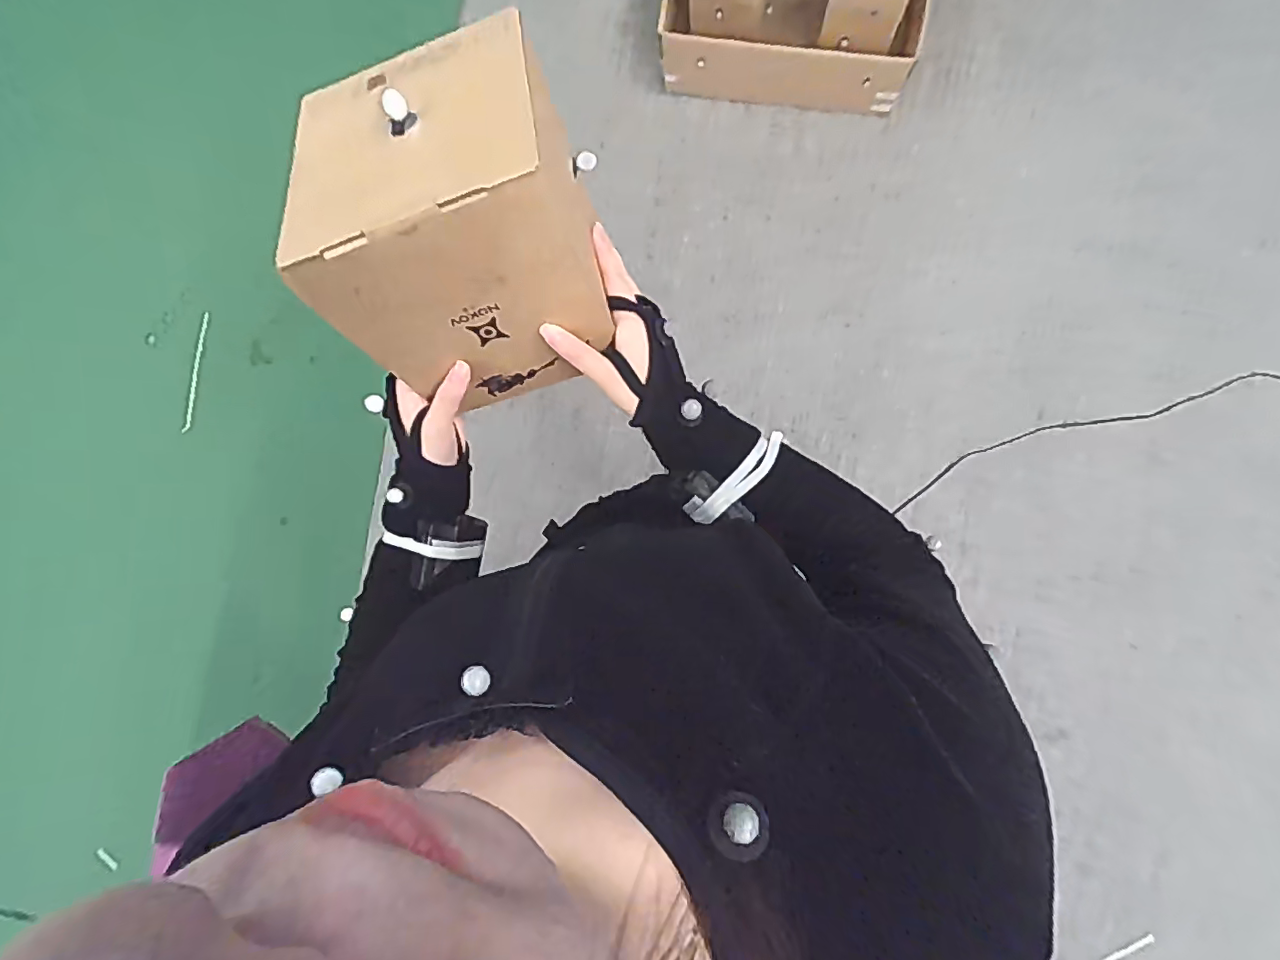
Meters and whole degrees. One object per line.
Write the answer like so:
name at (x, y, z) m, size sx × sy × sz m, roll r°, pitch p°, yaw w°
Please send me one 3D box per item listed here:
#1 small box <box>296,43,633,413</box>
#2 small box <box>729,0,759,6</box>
small box at (-0.115, -0.182, 0.409) m, size 0.168 × 0.179 × 0.176 m, roll -14°, pitch 64°, yaw 9°
small box at (0.210, -1.190, 1.172) m, size 0.168 × 0.176 × 0.179 m, roll 17°, pitch 92°, yaw 6°
